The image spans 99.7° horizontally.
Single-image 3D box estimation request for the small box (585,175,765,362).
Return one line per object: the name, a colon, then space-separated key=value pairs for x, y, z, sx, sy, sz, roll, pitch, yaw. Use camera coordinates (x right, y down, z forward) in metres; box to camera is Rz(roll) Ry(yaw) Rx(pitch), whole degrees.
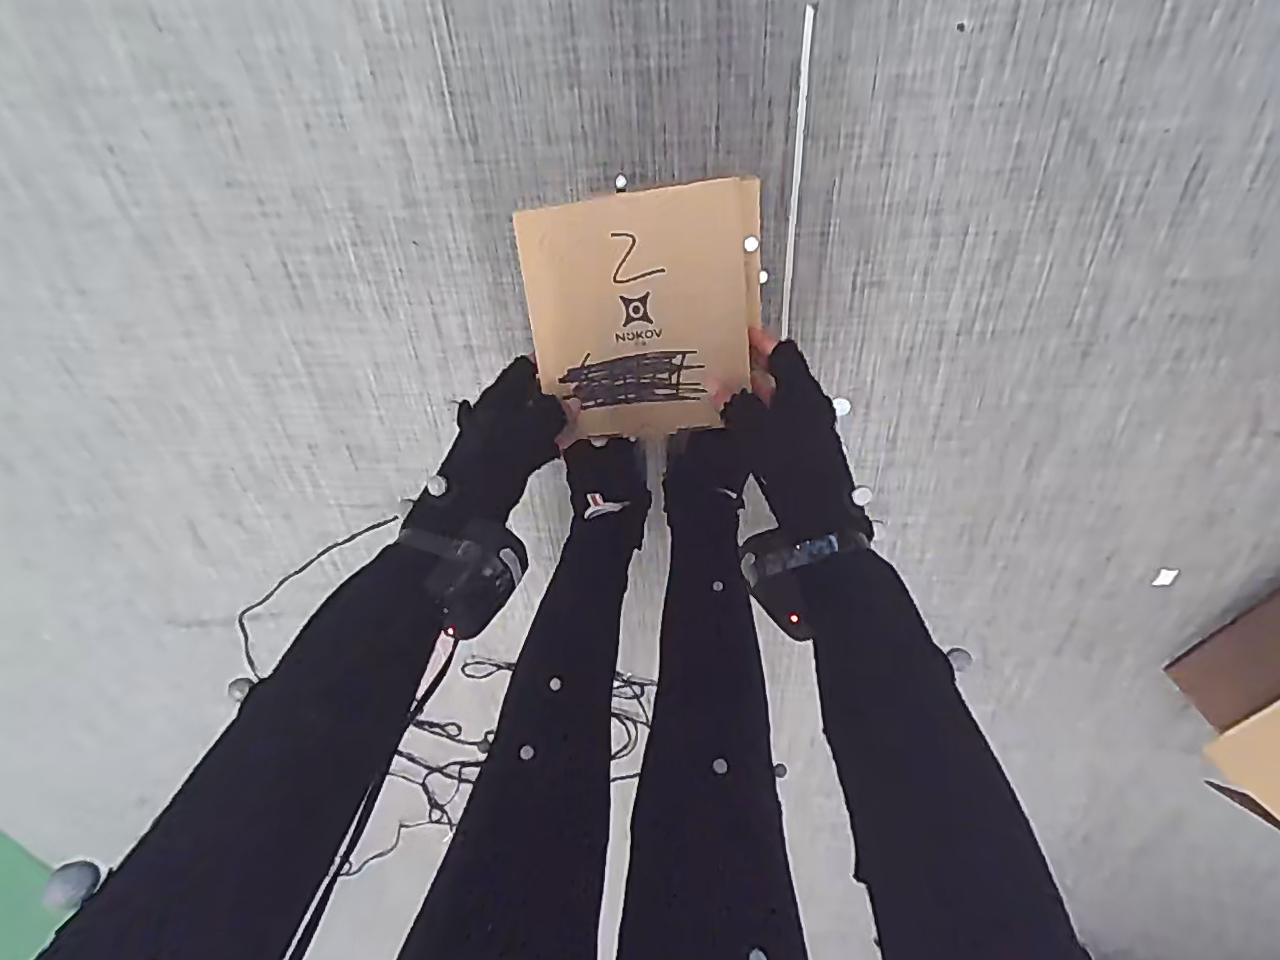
small box: x=0.046 y=-0.248 z=0.624 sx=0.179 sy=0.176 sz=0.168 roll=-3 pitch=121 yaw=9
